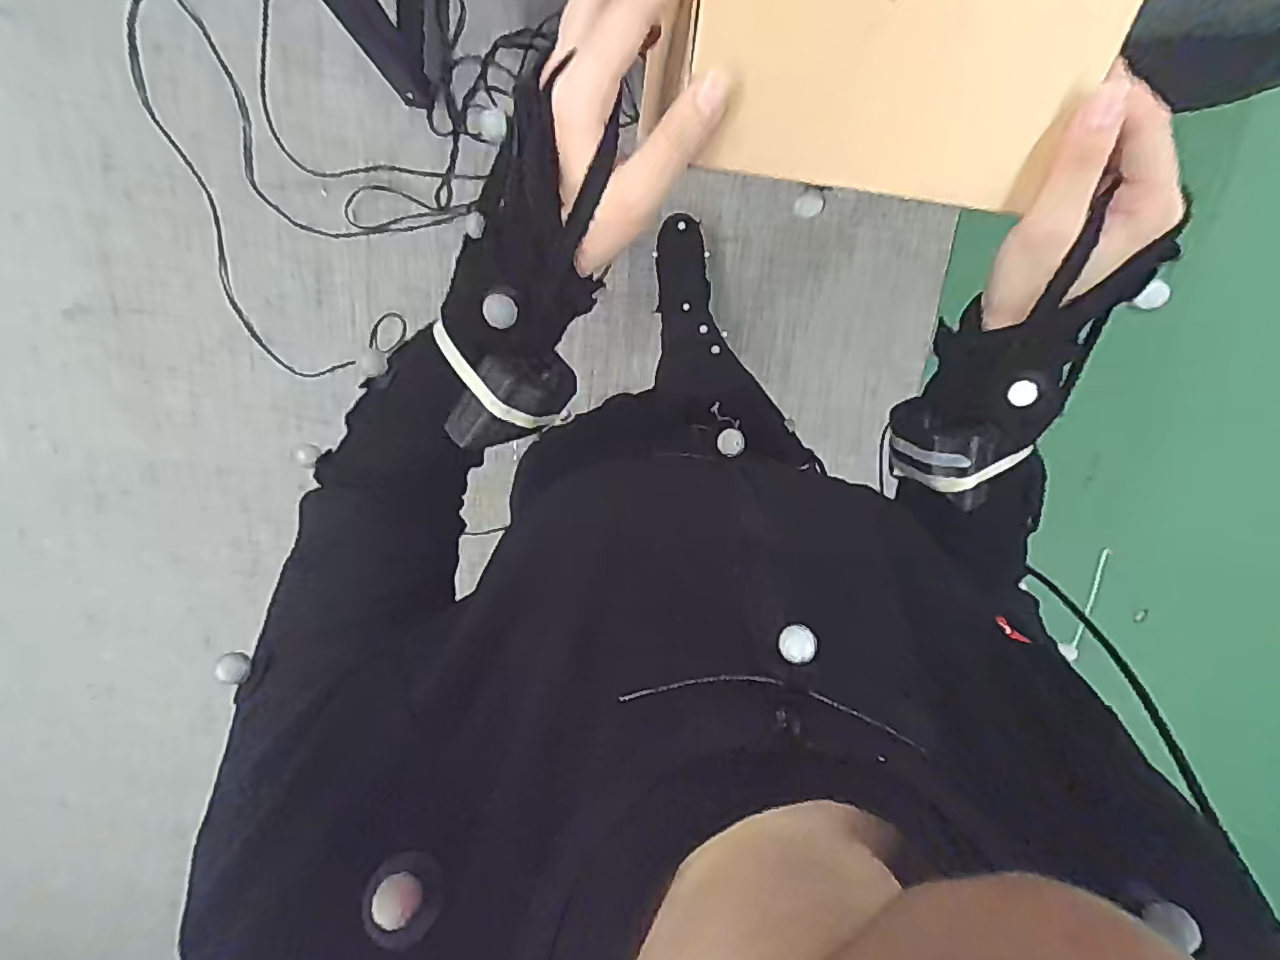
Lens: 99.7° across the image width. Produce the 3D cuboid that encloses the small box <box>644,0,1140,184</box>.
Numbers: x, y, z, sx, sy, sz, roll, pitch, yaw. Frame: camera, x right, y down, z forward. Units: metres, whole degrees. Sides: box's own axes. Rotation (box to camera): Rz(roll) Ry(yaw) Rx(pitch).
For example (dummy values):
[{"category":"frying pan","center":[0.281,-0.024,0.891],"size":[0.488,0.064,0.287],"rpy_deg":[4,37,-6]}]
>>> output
[{"category":"small box","center":[0.104,-0.251,0.250],"size":[0.179,0.176,0.168],"rpy_deg":[4,124,-8]}]
